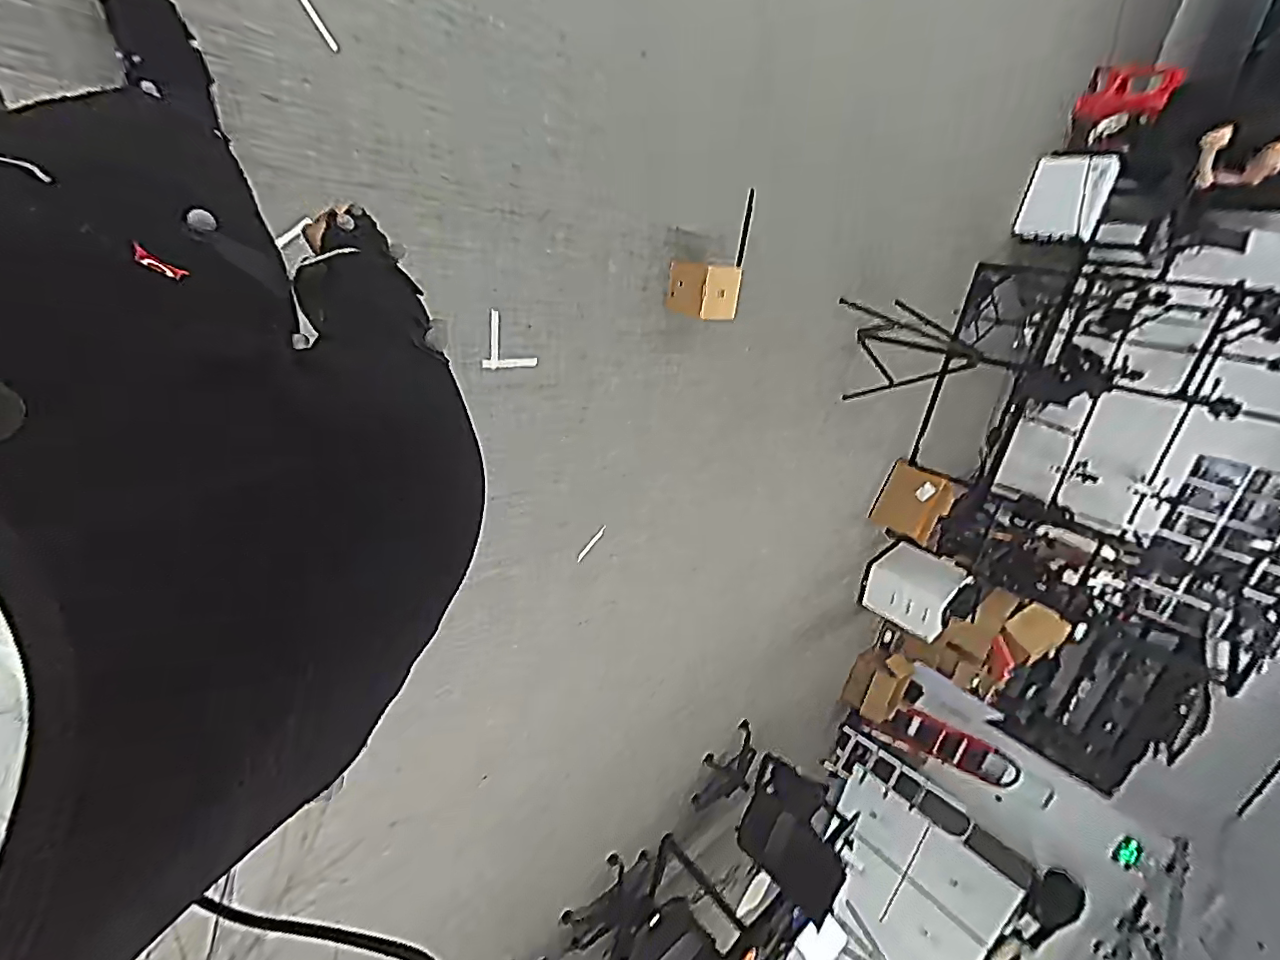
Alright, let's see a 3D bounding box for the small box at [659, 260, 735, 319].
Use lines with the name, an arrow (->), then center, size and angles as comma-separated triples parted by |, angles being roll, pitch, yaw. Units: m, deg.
small box -> 0.193, -0.650, 1.841 | 0.179, 0.176, 0.168 | -14, 122, -40
